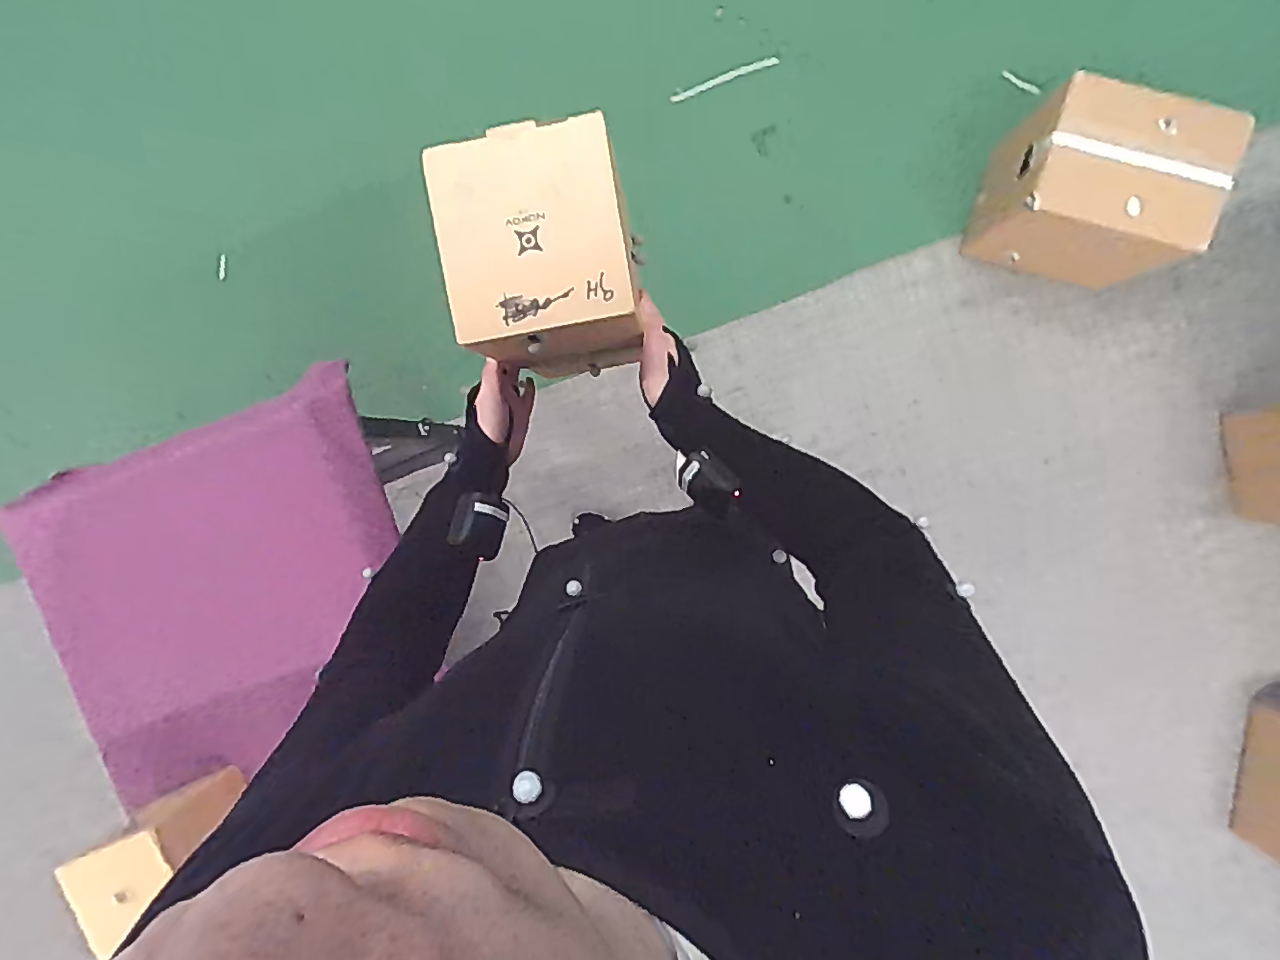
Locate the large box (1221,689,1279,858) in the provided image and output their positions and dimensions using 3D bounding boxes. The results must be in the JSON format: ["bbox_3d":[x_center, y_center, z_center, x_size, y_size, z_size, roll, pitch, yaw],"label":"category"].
[{"bbox_3d":[1.873,0.827,1.437,0.320,0.320,0.408,4,93,2],"label":"large box"}]

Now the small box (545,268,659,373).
[{"bbox_3d":[-0.069,-0.250,0.715,0.168,0.176,0.179,-10,94,6],"label":"small box"}]

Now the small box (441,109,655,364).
[{"bbox_3d":[-0.078,-0.228,0.552,0.168,0.176,0.179,-8,94,5],"label":"small box"}]

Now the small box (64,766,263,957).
[{"bbox_3d":[-0.772,0.625,0.906,0.179,0.176,0.168,-24,92,3],"label":"small box"}]
